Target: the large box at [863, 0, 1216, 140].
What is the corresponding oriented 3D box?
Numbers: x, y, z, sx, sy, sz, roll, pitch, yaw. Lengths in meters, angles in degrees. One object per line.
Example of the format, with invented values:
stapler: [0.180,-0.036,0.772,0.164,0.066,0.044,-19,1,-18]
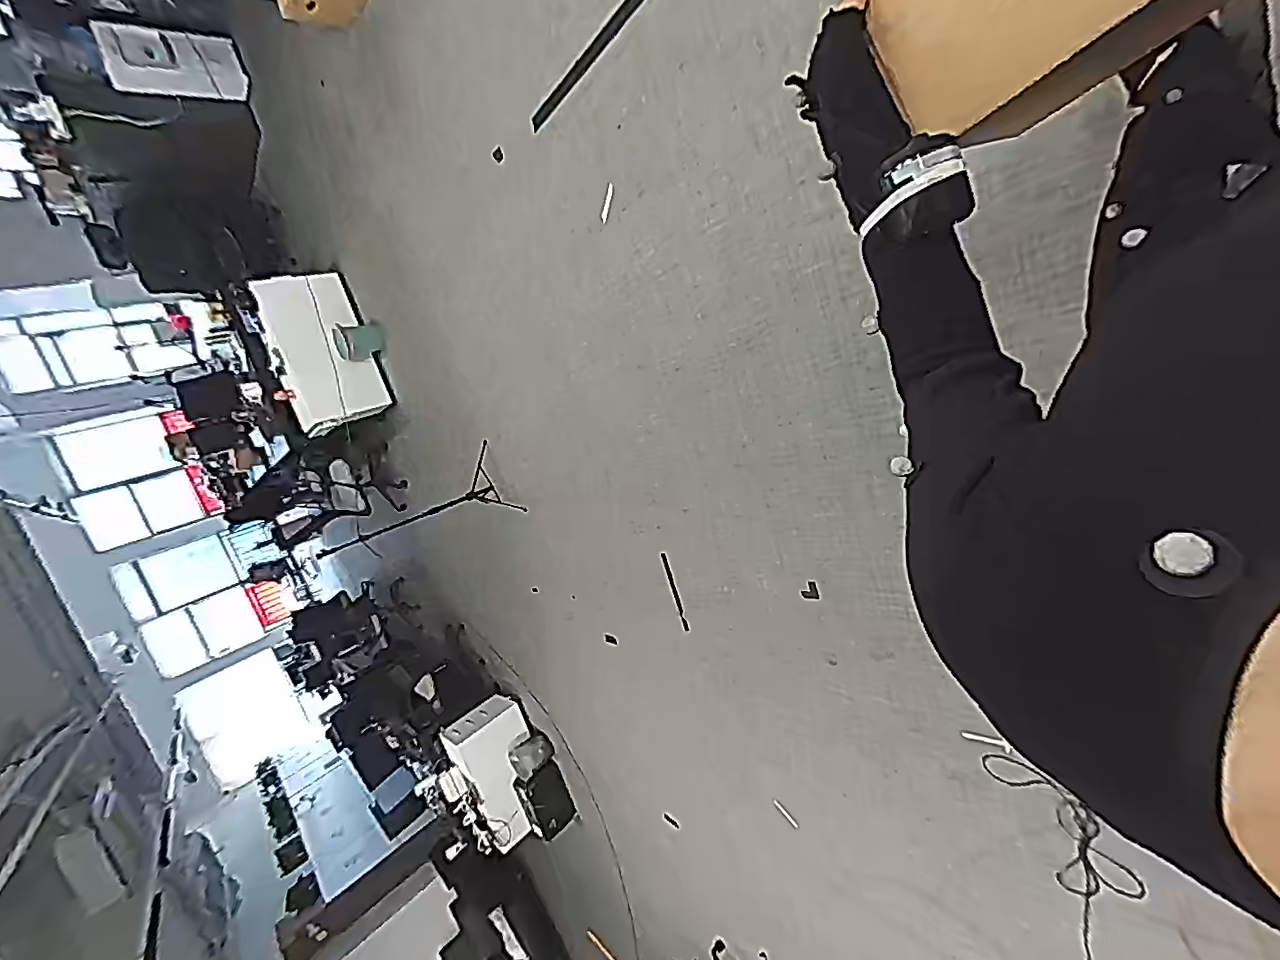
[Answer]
large box: [0.375,-0.517,0.368,0.408,0.320,0.320,-23,99,51]
